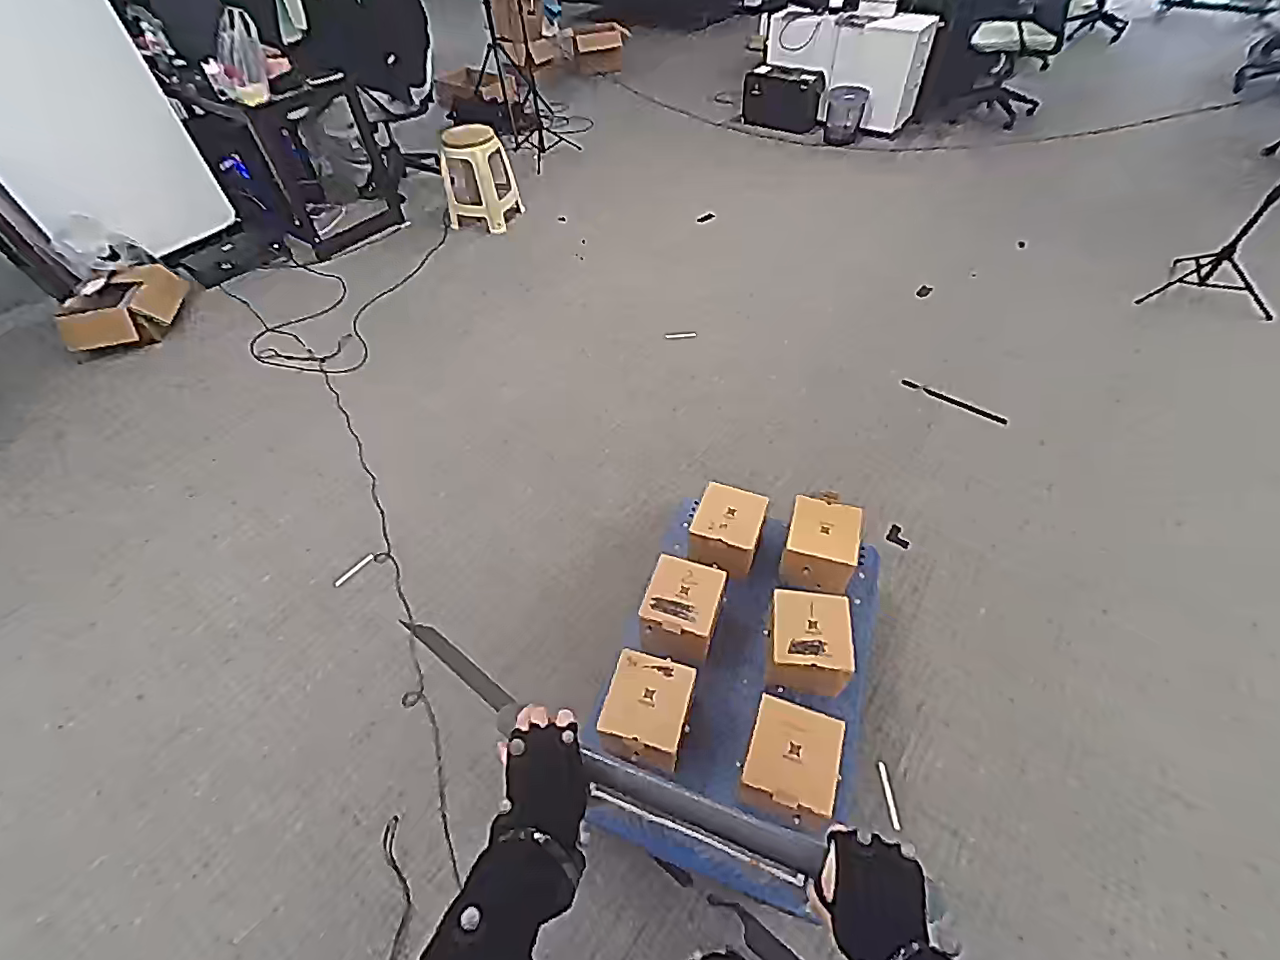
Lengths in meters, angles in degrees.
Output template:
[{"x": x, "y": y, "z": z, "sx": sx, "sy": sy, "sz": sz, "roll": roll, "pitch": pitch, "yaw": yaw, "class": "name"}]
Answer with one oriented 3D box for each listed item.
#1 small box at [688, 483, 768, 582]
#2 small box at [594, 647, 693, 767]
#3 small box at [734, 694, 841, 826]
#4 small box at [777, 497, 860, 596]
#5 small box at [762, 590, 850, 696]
[{"x": 0.231, "y": 0.142, "z": 1.448, "sx": 0.168, "sy": 0.176, "sz": 0.179, "roll": 17, "pitch": 55, "yaw": 17, "class": "small box"}, {"x": 0.014, "y": 0.496, "z": 1.171, "sx": 0.168, "sy": 0.176, "sz": 0.179, "roll": 14, "pitch": 53, "yaw": 12, "class": "small box"}, {"x": 0.293, "y": 0.571, "z": 1.096, "sx": 0.168, "sy": 0.176, "sz": 0.179, "roll": 16, "pitch": 53, "yaw": 15, "class": "small box"}, {"x": 0.461, "y": 0.177, "z": 1.409, "sx": 0.168, "sy": 0.176, "sz": 0.179, "roll": 13, "pitch": 52, "yaw": 14, "class": "small box"}, {"x": 0.376, "y": 0.379, "z": 1.247, "sx": 0.168, "sy": 0.176, "sz": 0.179, "roll": 6, "pitch": 50, "yaw": 8, "class": "small box"}]
